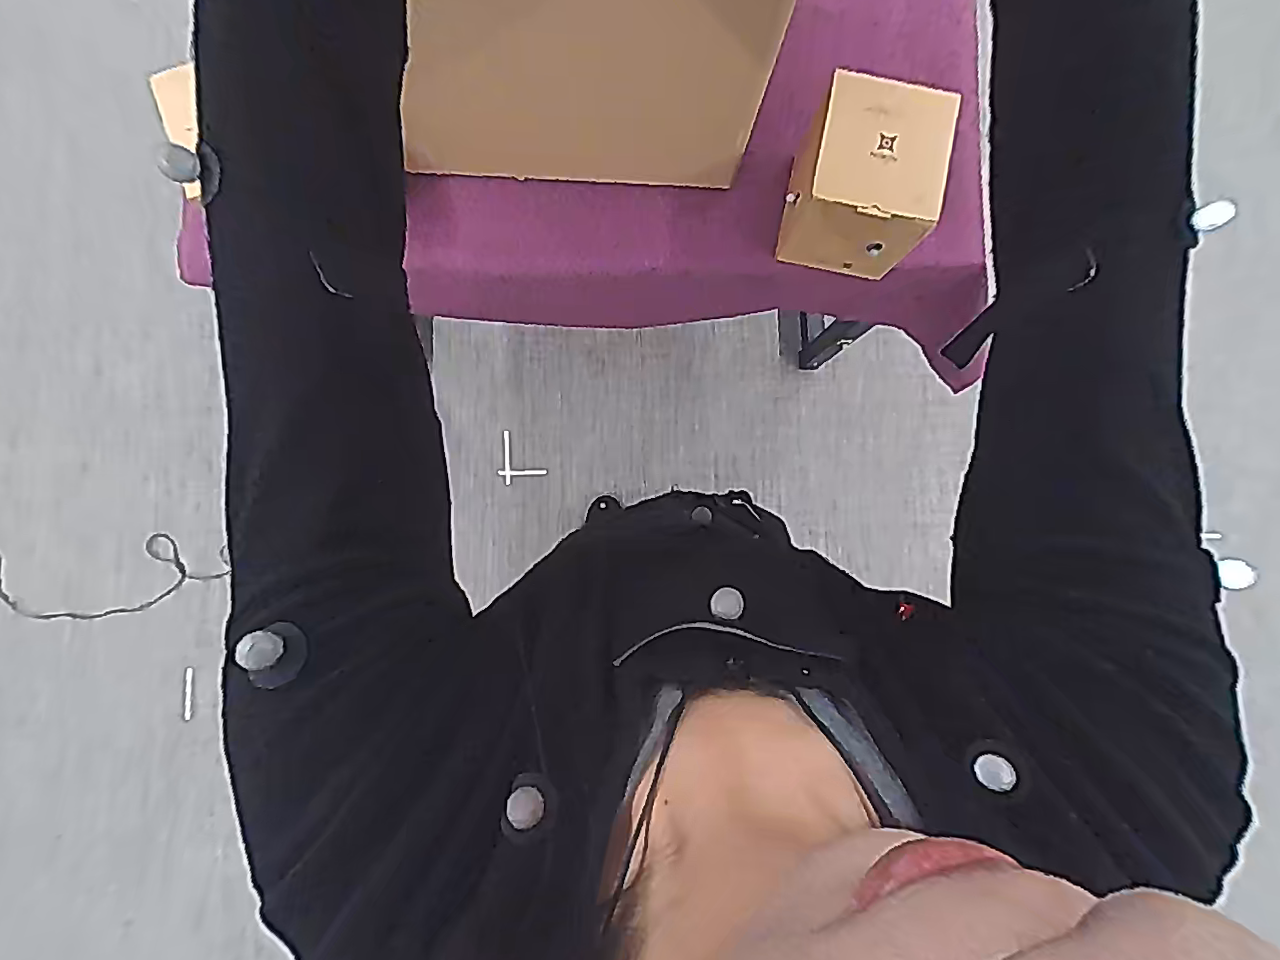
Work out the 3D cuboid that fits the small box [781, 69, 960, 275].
[{"bbox_3d":[0.307,-0.414,0.756,0.168,0.176,0.179,11,85,-2],"label":"small box"}]
